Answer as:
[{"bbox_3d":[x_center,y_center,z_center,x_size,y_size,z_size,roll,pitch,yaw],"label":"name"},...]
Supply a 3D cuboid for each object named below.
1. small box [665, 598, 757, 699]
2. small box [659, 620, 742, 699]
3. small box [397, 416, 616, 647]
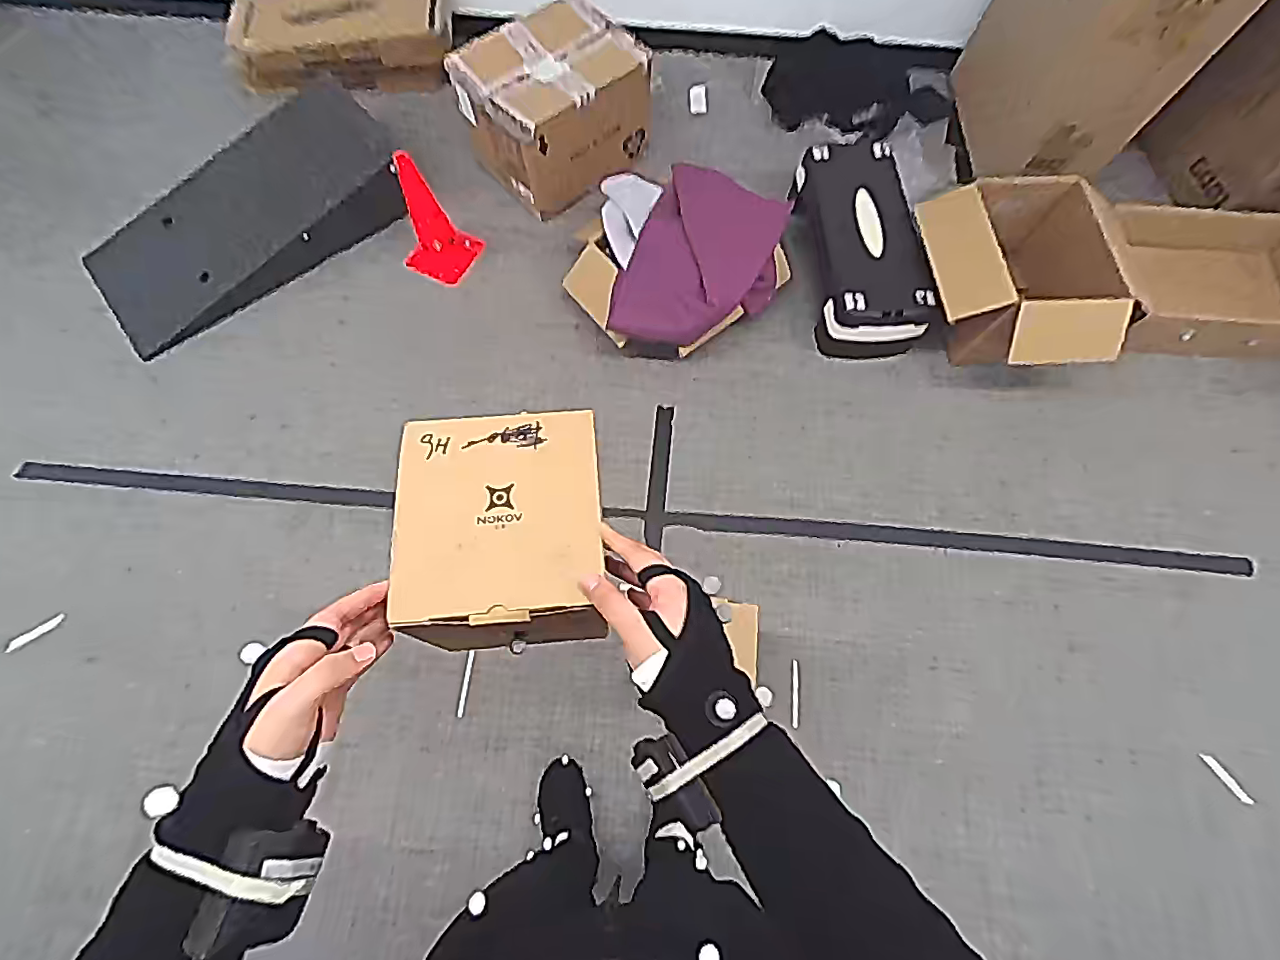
[{"bbox_3d":[0.141,0.350,1.123,0.168,0.176,0.179,5,71,2],"label":"small box"},{"bbox_3d":[0.142,0.417,1.272,0.179,0.176,0.168,4,70,0],"label":"small box"},{"bbox_3d":[-0.111,0.059,0.511,0.168,0.176,0.179,-5,68,-5],"label":"small box"}]
